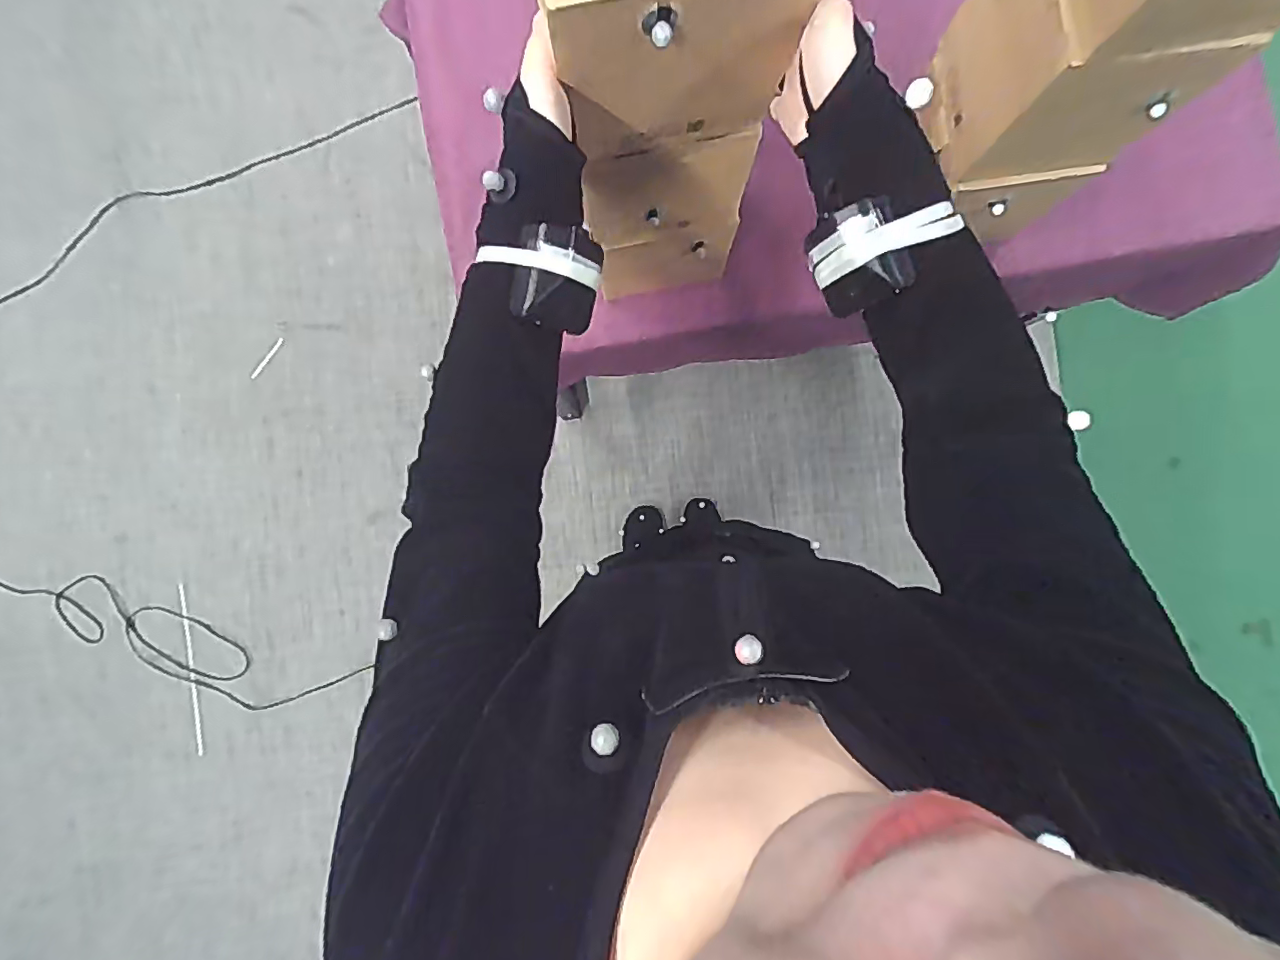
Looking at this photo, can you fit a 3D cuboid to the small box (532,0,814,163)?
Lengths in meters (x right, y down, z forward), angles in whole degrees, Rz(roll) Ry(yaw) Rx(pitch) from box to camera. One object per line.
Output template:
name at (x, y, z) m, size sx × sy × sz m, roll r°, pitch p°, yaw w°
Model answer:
small box at (0.005, -0.356, 0.367) m, size 0.168 × 0.176 × 0.179 m, roll -12°, pitch 95°, yaw -1°

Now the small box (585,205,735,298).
small box at (0.015, -0.360, 0.715) m, size 0.179 × 0.176 × 0.168 m, roll -10°, pitch 88°, yaw 1°

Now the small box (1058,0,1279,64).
small box at (0.436, -0.443, 0.379) m, size 0.179 × 0.176 × 0.168 m, roll -10°, pitch 88°, yaw 1°

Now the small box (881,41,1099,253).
small box at (0.434, -0.417, 0.706) m, size 0.179 × 0.176 × 0.168 m, roll -8°, pitch 88°, yaw 1°

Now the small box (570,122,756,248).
small box at (0.007, -0.369, 0.552) m, size 0.168 × 0.176 × 0.179 m, roll -10°, pitch 89°, yaw 1°
